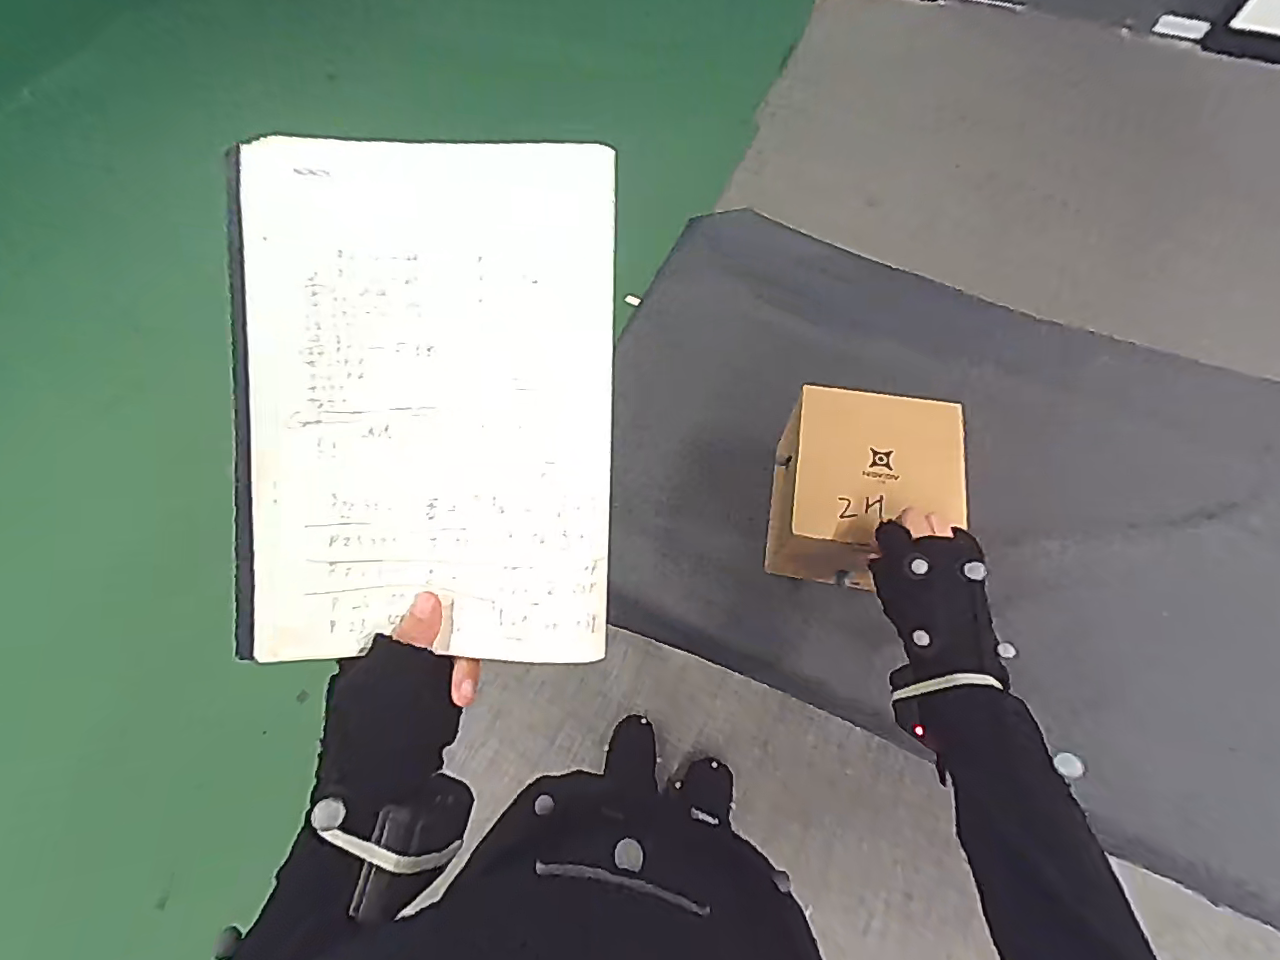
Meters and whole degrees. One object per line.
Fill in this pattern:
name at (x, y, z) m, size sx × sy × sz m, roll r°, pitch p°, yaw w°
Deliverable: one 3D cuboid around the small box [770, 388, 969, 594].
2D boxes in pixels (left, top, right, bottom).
small box at (0.249, 0.020, 0.624) m, size 0.168 × 0.176 × 0.179 m, roll 8°, pitch 68°, yaw 7°
